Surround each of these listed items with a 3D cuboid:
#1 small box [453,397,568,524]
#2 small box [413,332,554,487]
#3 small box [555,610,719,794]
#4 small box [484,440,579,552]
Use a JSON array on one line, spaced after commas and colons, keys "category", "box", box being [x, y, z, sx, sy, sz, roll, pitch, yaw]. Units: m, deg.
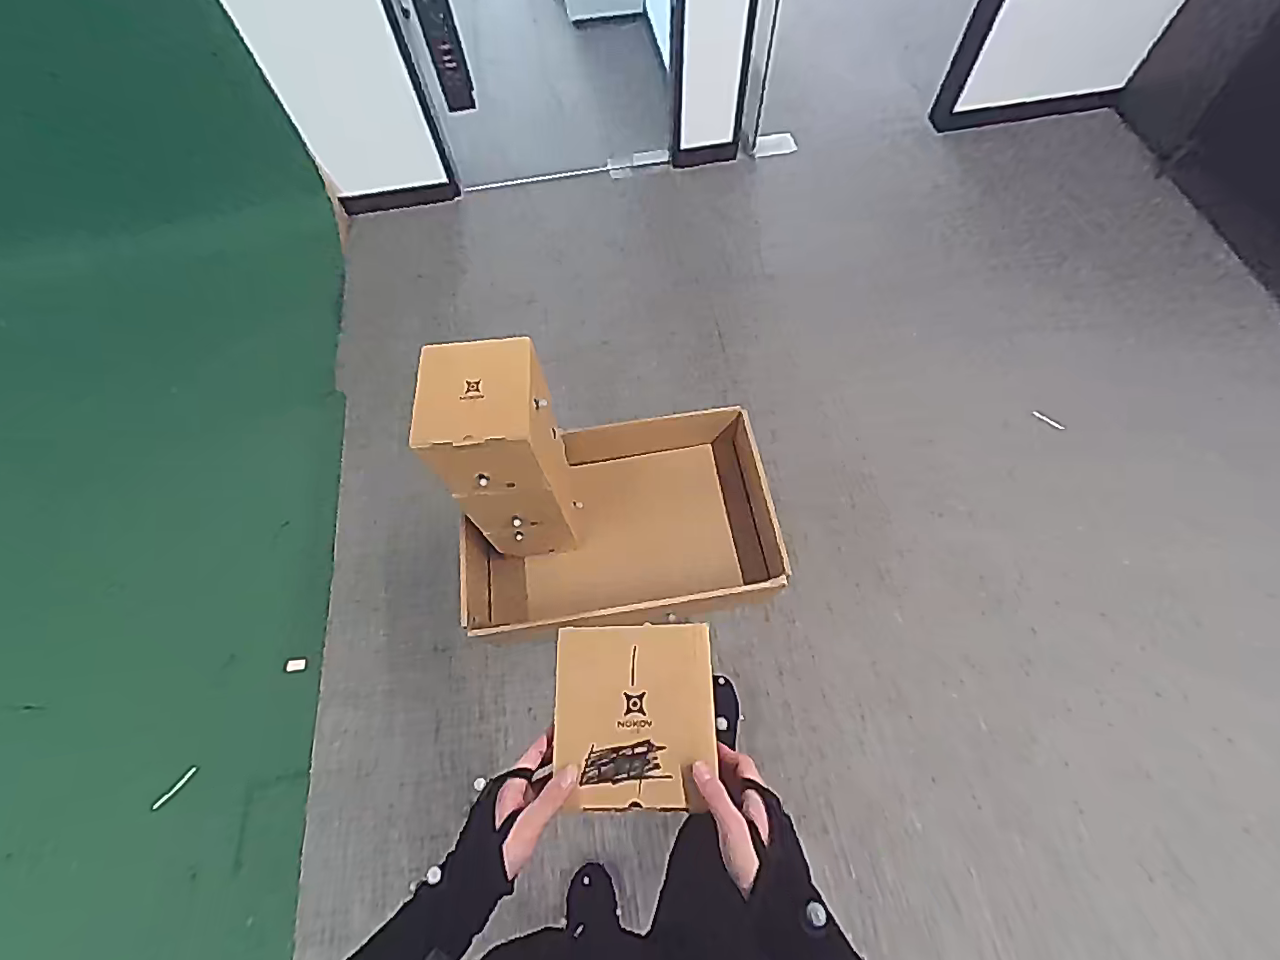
[{"category": "small box", "box": [-0.227, -0.034, 0.987, 0.168, 0.176, 0.179, -5, 65, 0]}, {"category": "small box", "box": [-0.230, -0.104, 0.841, 0.168, 0.176, 0.179, -4, 65, 0]}, {"category": "small box", "box": [0.004, 0.252, 0.630, 0.168, 0.176, 0.179, -2, 68, 4]}, {"category": "small box", "box": [-0.223, 0.037, 1.136, 0.168, 0.176, 0.179, -7, 65, -1]}]
